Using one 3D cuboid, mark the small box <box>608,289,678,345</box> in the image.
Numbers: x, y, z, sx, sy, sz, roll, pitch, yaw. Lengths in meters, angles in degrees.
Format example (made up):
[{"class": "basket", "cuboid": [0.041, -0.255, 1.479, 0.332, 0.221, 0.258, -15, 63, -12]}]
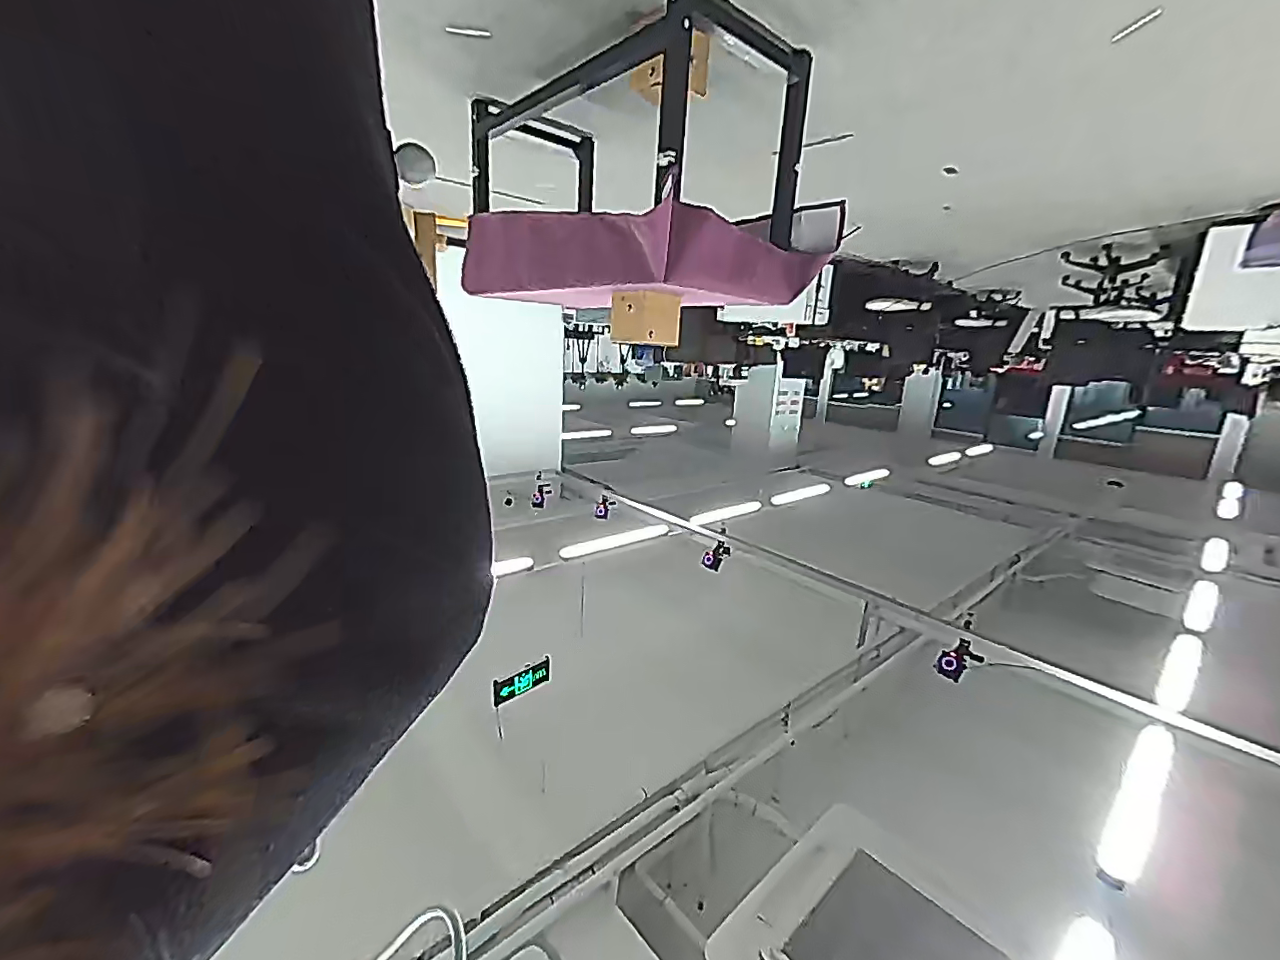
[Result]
[{"class": "small box", "cuboid": [0.012, -0.553, 1.840, 0.179, 0.176, 0.168, -9, -161, -41]}]
